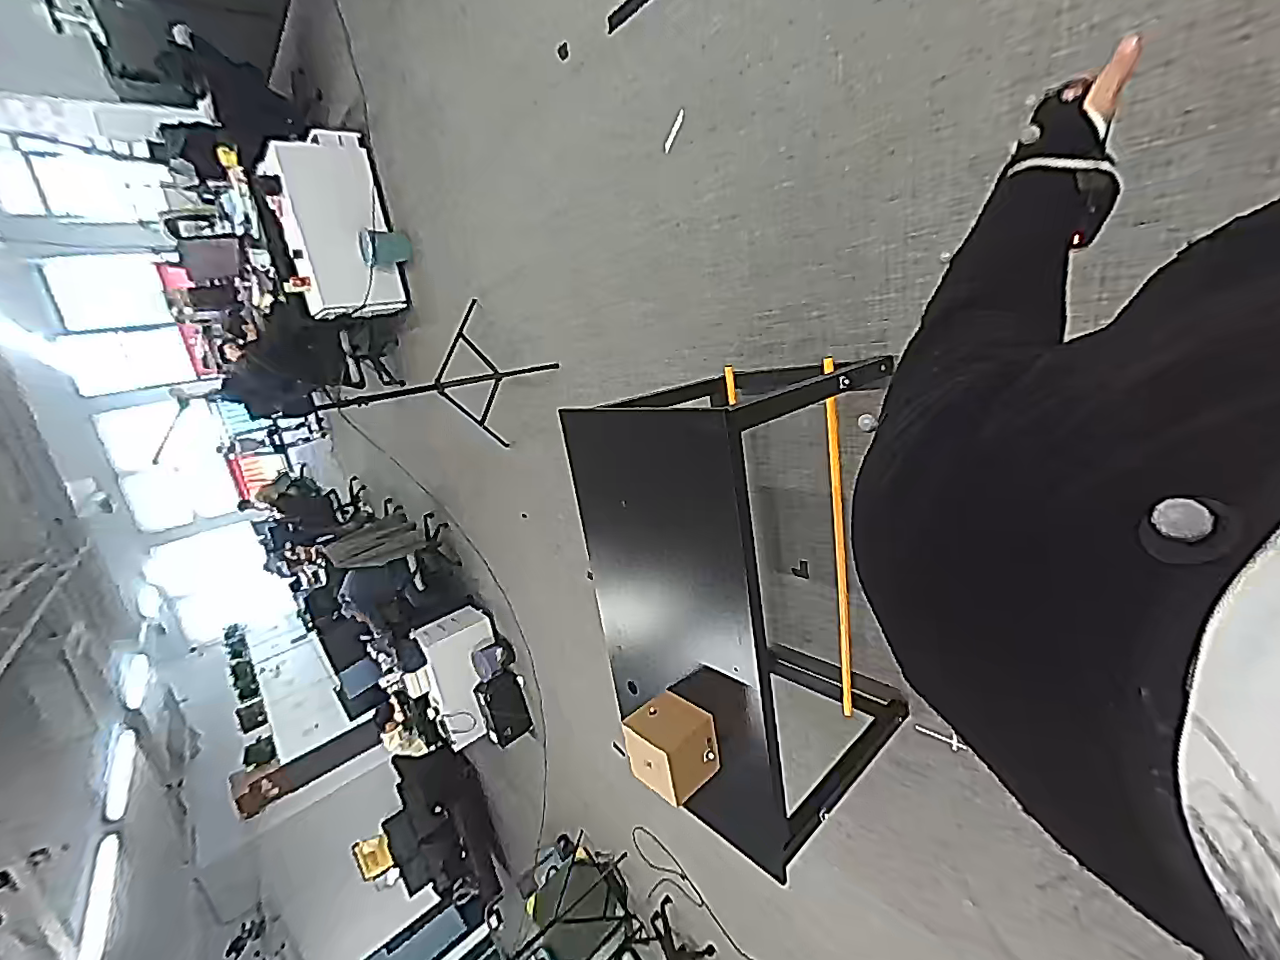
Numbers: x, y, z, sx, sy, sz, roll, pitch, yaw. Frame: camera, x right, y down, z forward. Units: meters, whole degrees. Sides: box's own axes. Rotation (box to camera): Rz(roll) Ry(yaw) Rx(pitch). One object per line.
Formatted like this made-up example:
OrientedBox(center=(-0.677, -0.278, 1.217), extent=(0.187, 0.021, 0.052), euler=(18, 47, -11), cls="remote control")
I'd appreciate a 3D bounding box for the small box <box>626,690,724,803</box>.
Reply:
OrientedBox(center=(0.092, 0.676, 1.400), extent=(0.179, 0.176, 0.168), euler=(6, 113, 50), cls="small box")
